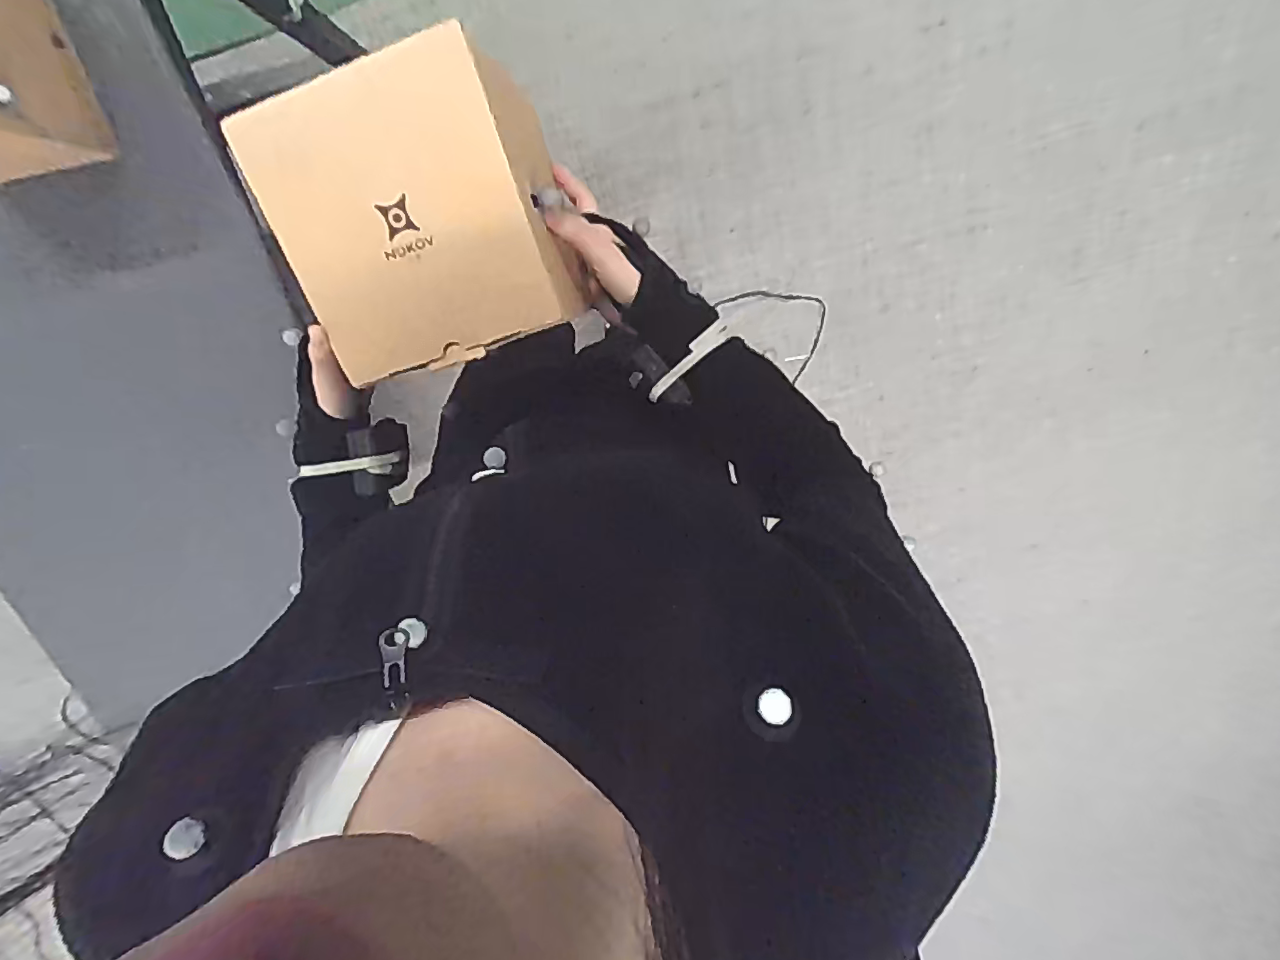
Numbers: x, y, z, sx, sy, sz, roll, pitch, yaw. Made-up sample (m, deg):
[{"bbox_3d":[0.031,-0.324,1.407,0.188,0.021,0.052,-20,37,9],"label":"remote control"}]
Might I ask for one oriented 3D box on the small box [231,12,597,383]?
[{"bbox_3d":[-0.140,-0.192,0.411,0.168,0.176,0.179,-15,110,8],"label":"small box"}]
